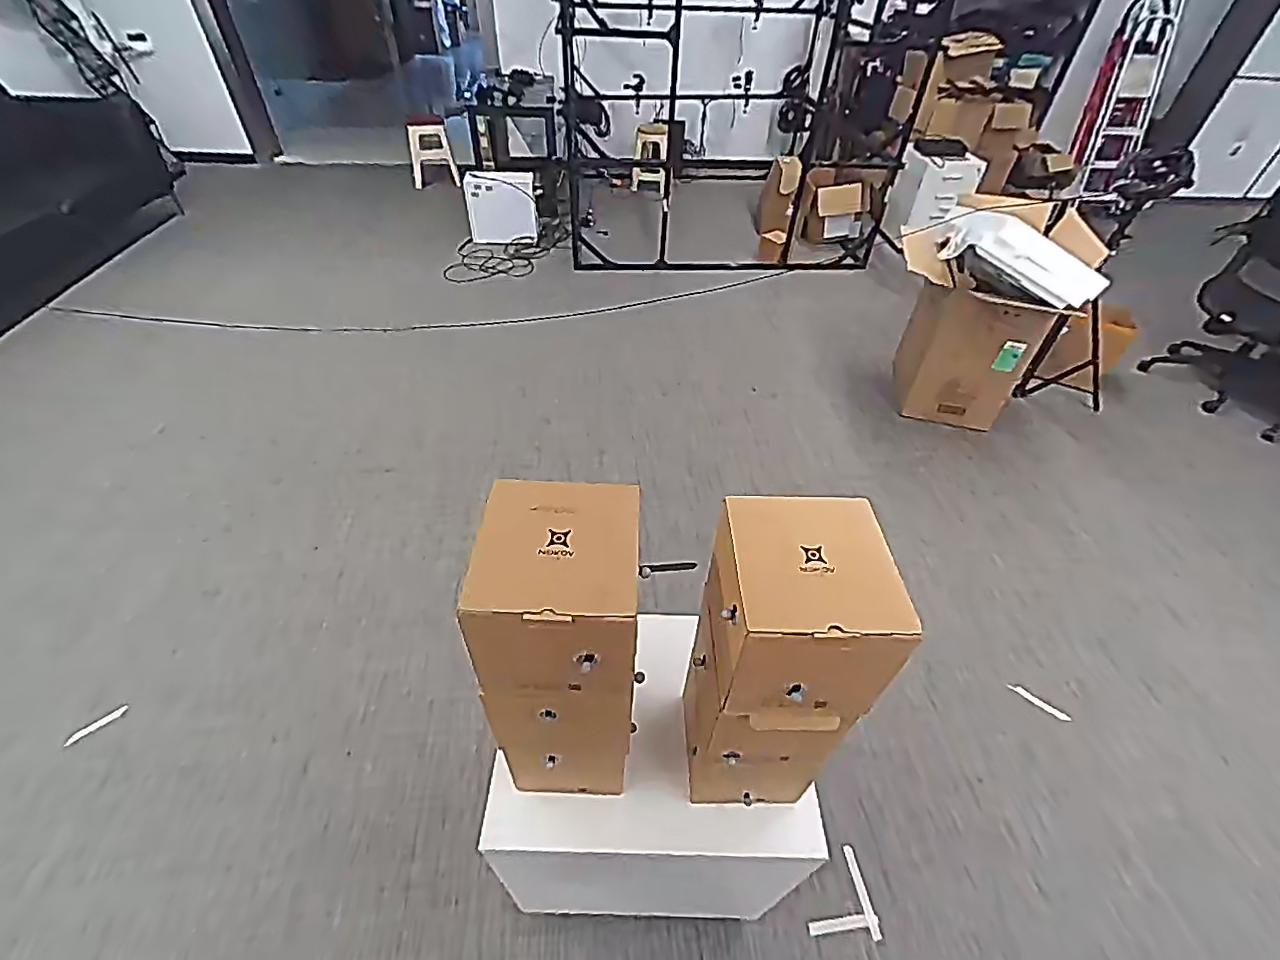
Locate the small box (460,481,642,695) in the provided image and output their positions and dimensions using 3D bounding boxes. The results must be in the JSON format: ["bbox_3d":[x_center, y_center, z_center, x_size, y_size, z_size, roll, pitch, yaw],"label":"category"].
[{"bbox_3d":[-0.085,0.123,0.605,0.168,0.176,0.179,3,44,-1],"label":"small box"}]

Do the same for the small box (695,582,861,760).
[{"bbox_3d":[0.167,0.255,0.717,0.168,0.176,0.179,1,43,-2],"label":"small box"}]

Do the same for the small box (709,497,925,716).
[{"bbox_3d":[0.174,0.140,0.603,0.168,0.176,0.179,1,45,-2],"label":"small box"}]

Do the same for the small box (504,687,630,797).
[{"bbox_3d":[-0.100,0.359,0.831,0.168,0.176,0.179,3,43,0],"label":"small box"}]
